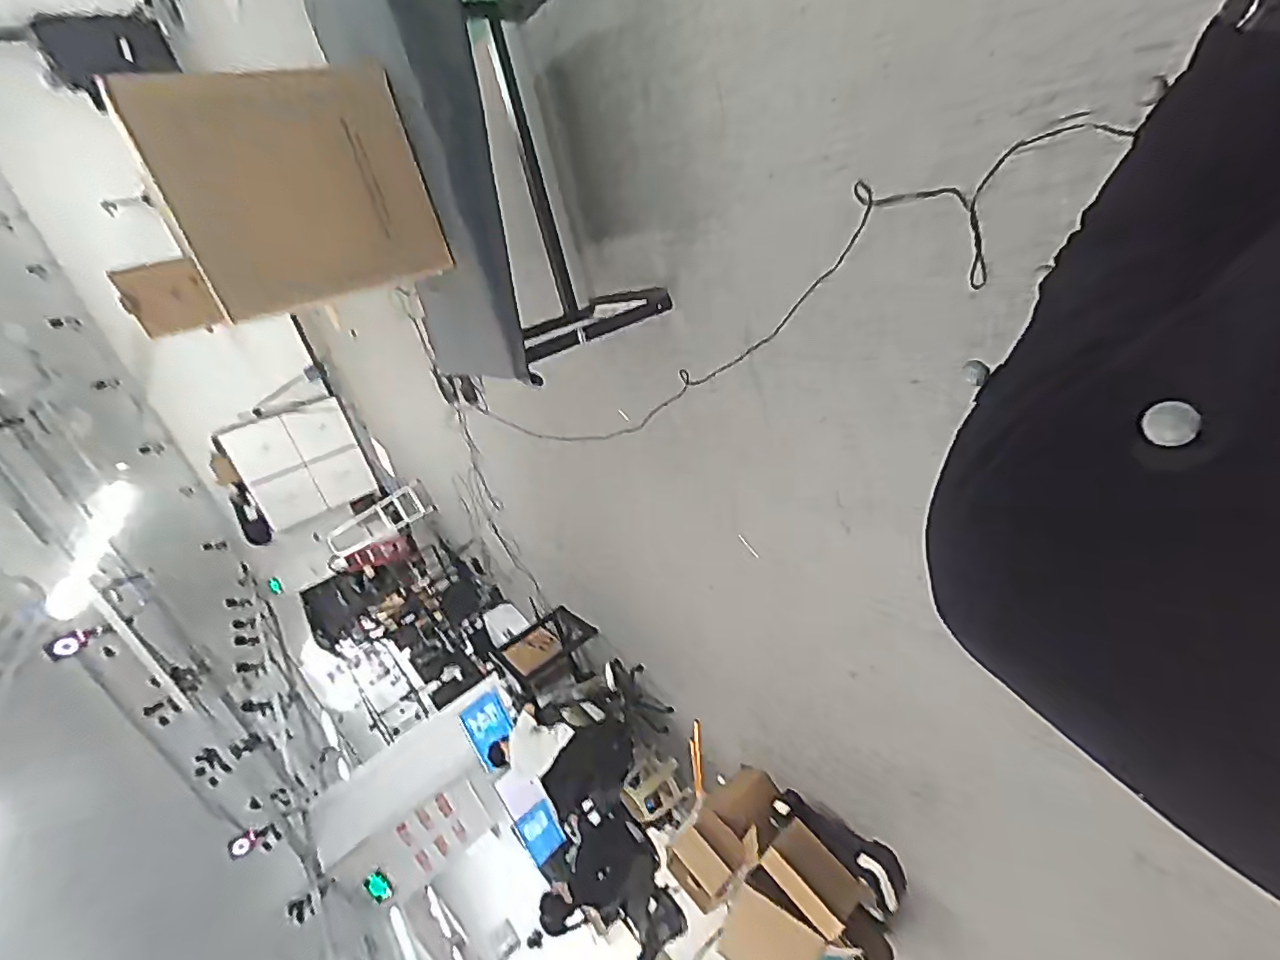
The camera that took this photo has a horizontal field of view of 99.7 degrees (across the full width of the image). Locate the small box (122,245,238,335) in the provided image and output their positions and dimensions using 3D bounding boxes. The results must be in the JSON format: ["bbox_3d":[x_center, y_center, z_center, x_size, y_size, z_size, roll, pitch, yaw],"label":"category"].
[{"bbox_3d":[-1.172,-0.488,1.393,0.179,0.176,0.168,10,126,51],"label":"small box"}]
